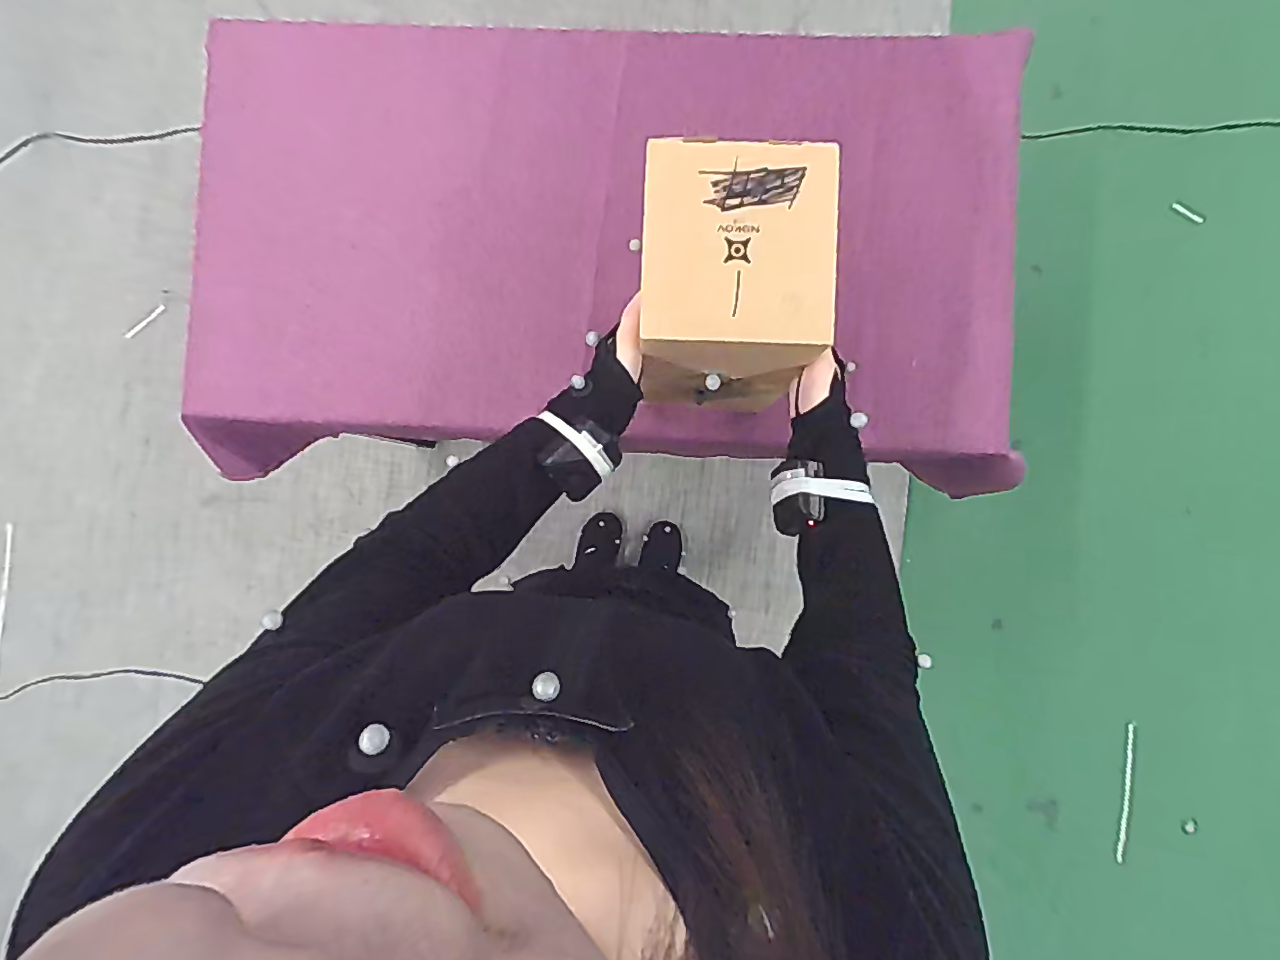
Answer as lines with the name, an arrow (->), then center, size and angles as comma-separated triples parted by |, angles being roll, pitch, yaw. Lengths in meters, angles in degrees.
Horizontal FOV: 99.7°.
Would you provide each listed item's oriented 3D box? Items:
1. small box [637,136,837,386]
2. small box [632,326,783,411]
small box -> 0.083, -0.201, 0.536 | 0.168, 0.176, 0.179 | 3, 88, 2
small box -> 0.088, -0.187, 0.701 | 0.179, 0.176, 0.168 | 5, 89, 2
